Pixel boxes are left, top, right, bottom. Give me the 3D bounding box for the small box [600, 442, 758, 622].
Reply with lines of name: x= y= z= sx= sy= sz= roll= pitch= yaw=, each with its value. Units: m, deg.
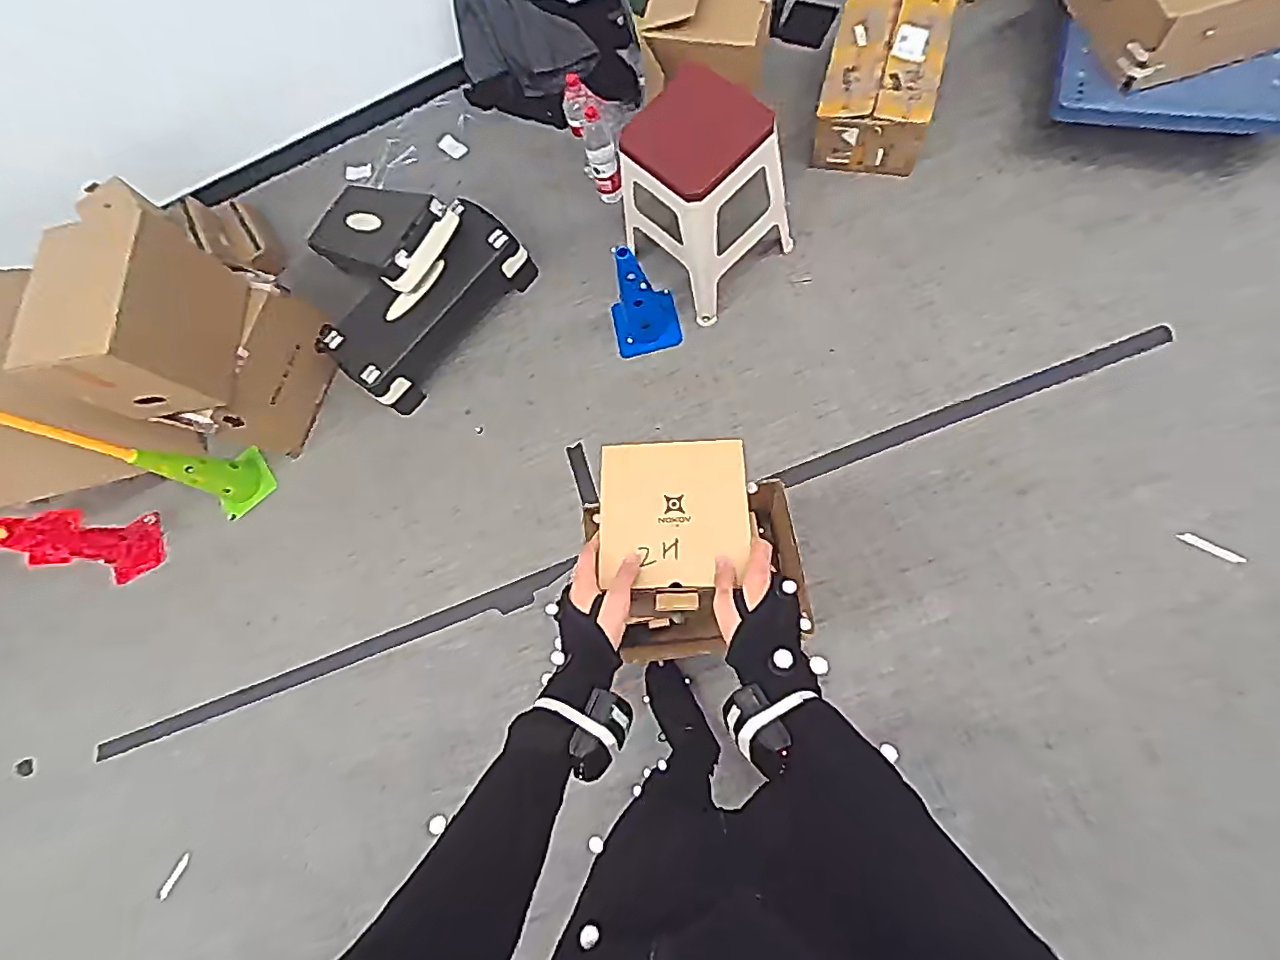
small box: x=0.047 y=0.070 z=0.662 sx=0.168 sy=0.176 sz=0.179 roll=-2 pitch=66 yaw=5
